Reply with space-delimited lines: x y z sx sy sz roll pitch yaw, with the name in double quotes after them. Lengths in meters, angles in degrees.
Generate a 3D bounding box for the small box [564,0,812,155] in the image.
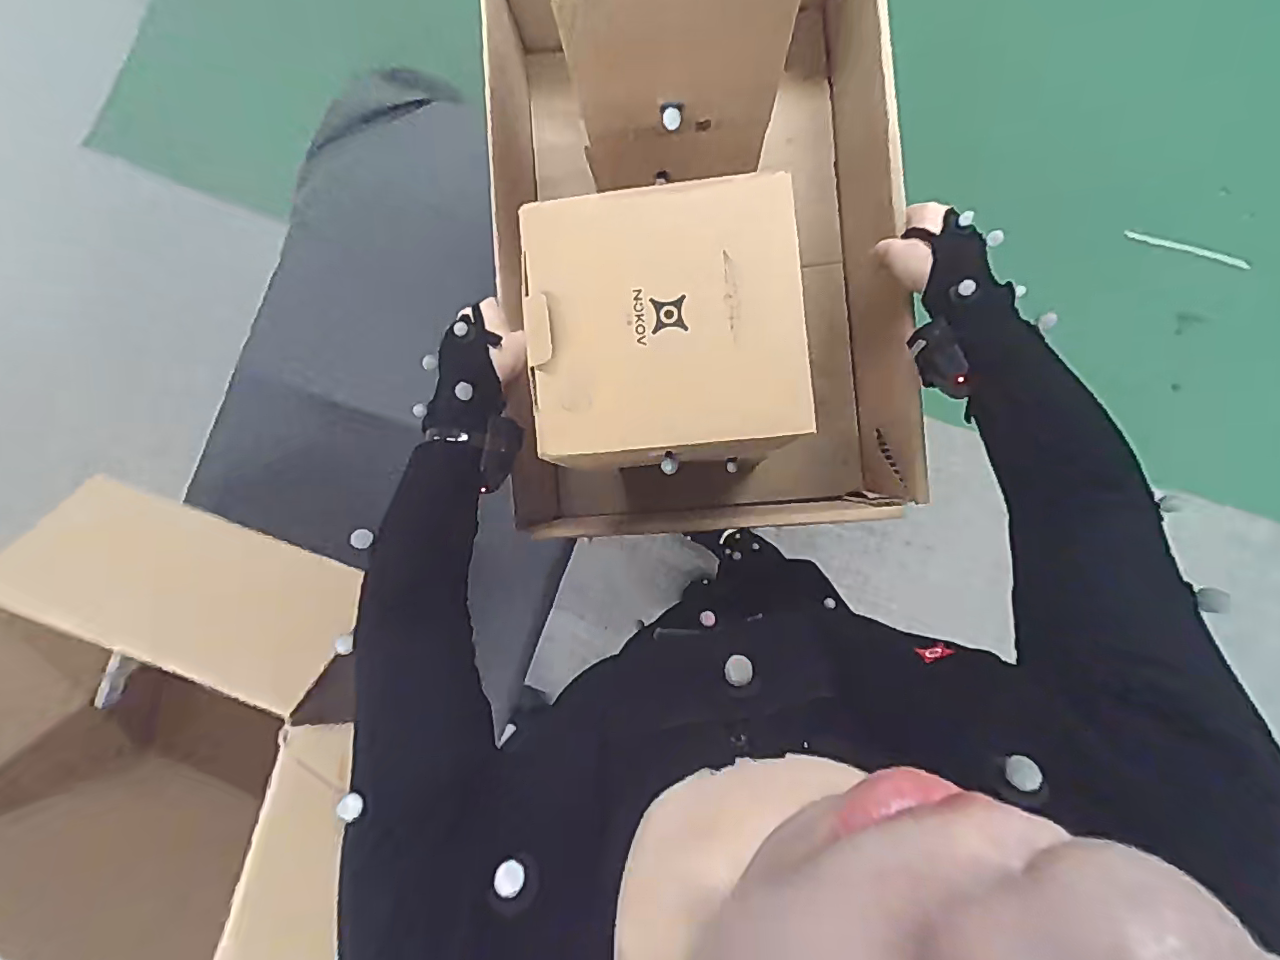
0.031 -0.395 0.422 0.168 0.176 0.179 -4 91 5 "small box"

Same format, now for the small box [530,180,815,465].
0.025 -0.101 0.424 0.179 0.176 0.168 -5 90 4 "small box"
